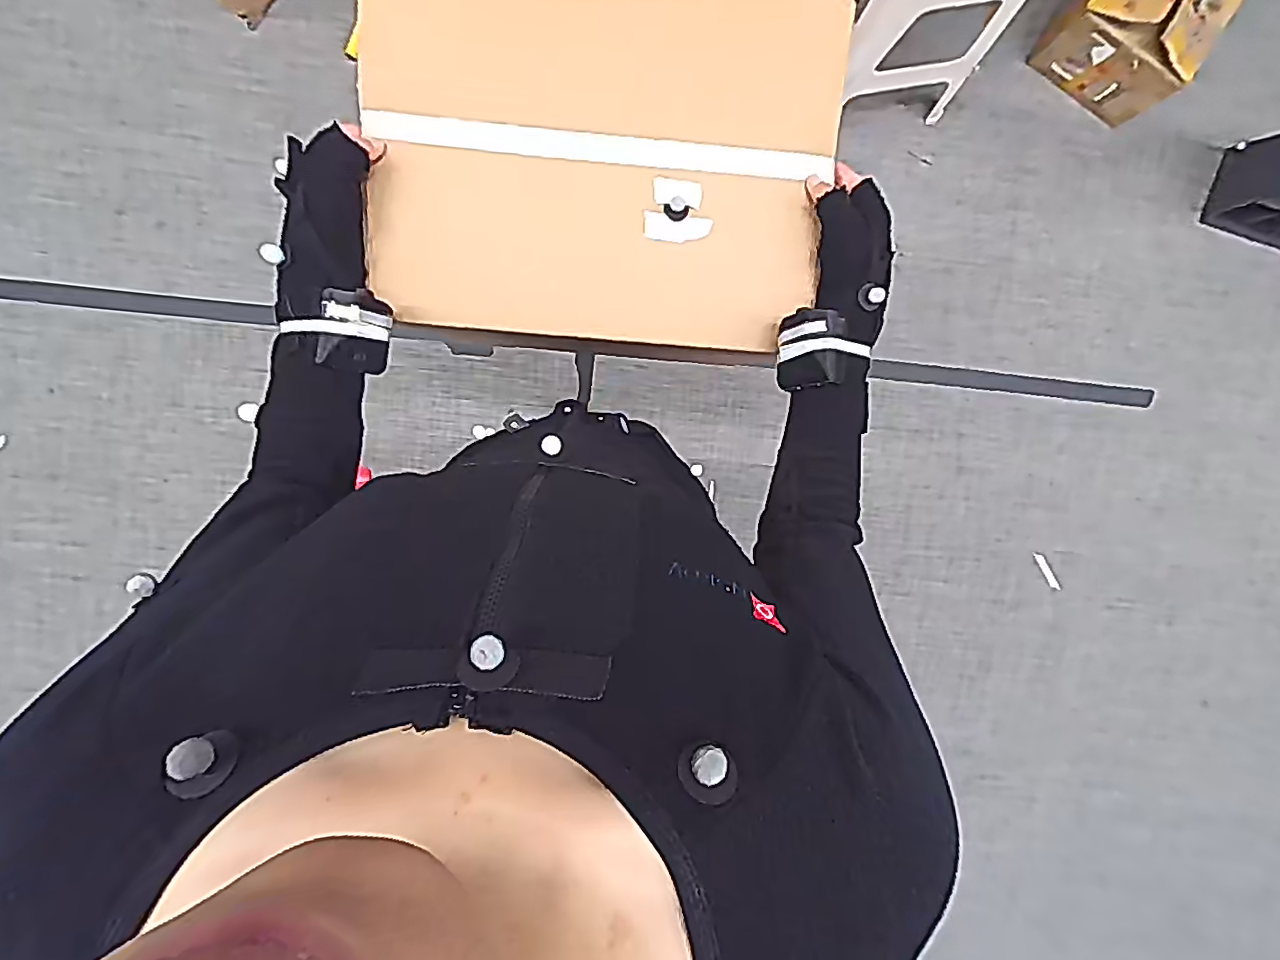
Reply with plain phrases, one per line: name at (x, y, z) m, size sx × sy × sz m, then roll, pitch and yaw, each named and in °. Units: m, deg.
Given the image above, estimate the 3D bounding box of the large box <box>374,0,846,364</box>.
large box at (-0.039, -0.308, 0.620) m, size 0.408 × 0.320 × 0.320 m, roll 4°, pitch 100°, yaw -4°
